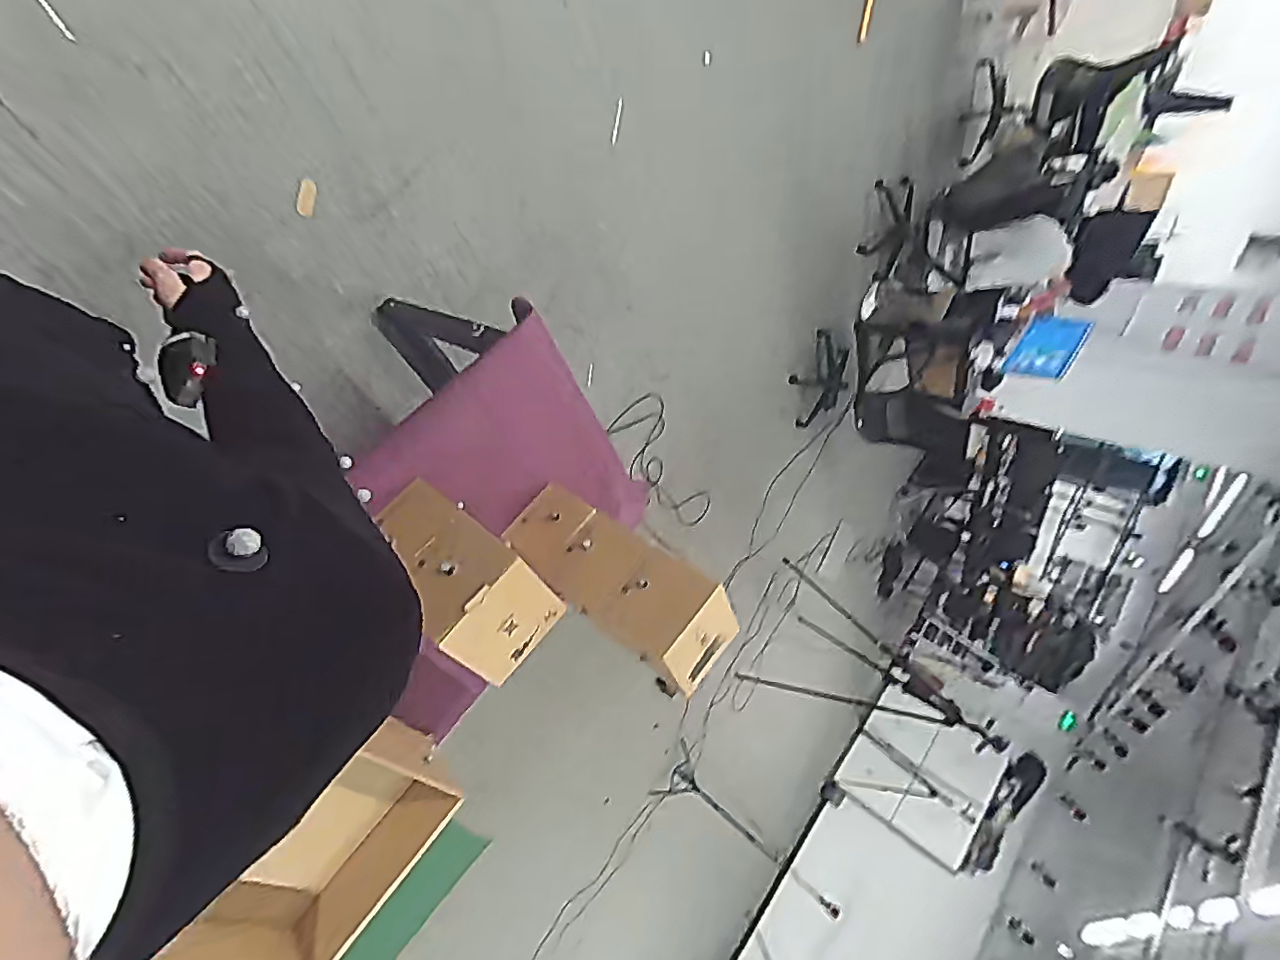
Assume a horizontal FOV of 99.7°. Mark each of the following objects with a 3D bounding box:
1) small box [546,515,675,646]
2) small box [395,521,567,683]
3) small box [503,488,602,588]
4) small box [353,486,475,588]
[{"bbox_3d":[-0.060,0.200,1.111,0.168,0.176,0.179,-46,138,-22],"label":"small box"},{"bbox_3d":[-0.258,0.189,0.879,0.168,0.176,0.179,-48,138,-19],"label":"small box"},{"bbox_3d":[-0.173,0.139,1.214,0.168,0.176,0.179,-50,140,-19],"label":"small box"},{"bbox_3d":[-0.375,0.130,0.977,0.168,0.176,0.179,-48,140,-20],"label":"small box"}]
